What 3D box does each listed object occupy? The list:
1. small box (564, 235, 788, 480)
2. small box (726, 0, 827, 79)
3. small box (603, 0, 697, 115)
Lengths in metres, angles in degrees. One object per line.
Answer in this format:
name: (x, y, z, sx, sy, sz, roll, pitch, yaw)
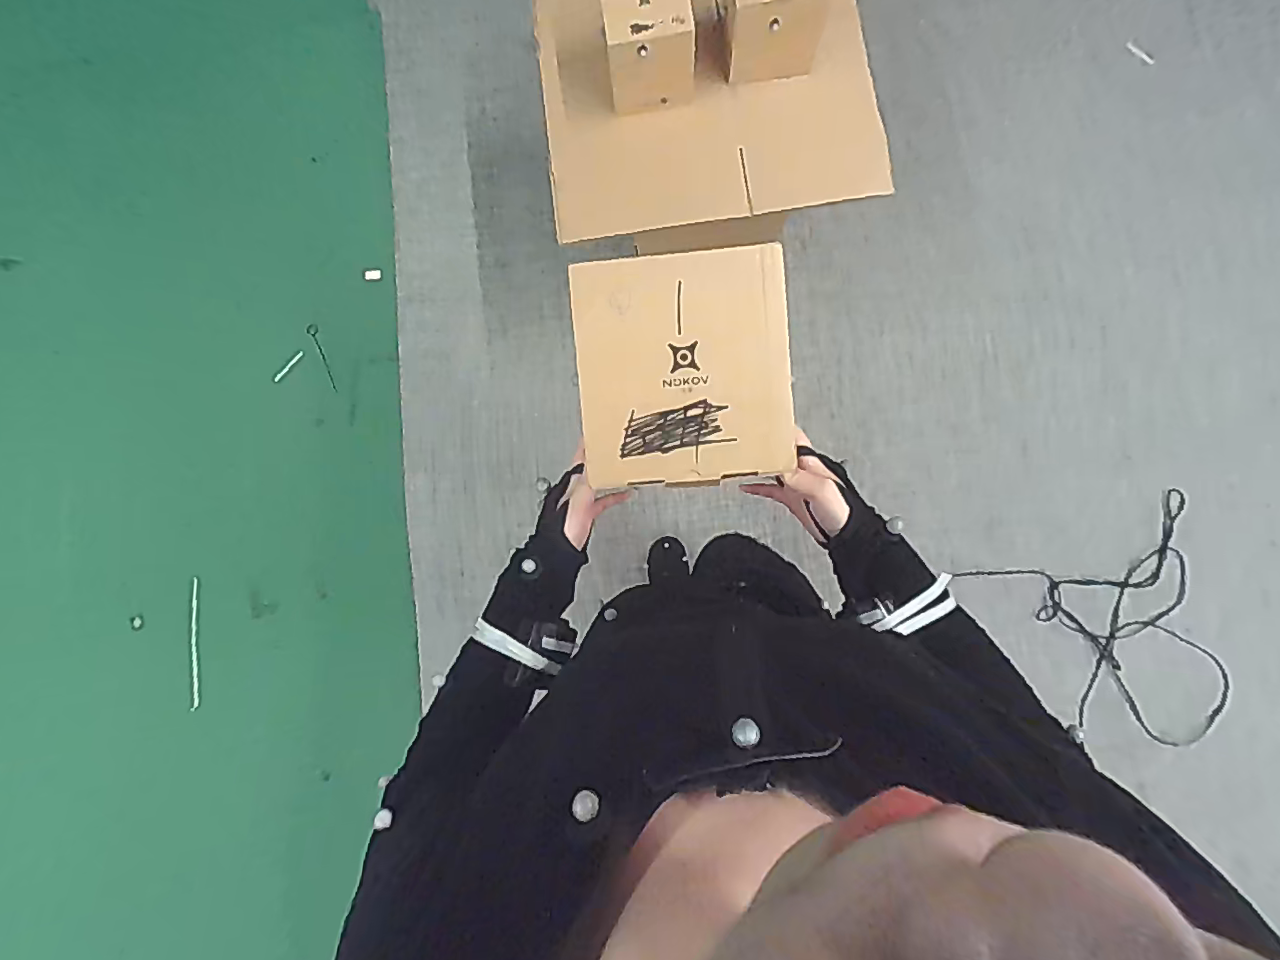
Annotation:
small box: (0.032, -0.098, 0.494, 0.168, 0.176, 0.179, -5, 93, 2)
small box: (0.265, -0.939, 1.072, 0.179, 0.176, 0.168, -5, 83, 5)
small box: (0.018, -0.881, 1.080, 0.168, 0.176, 0.179, -8, 81, 3)
